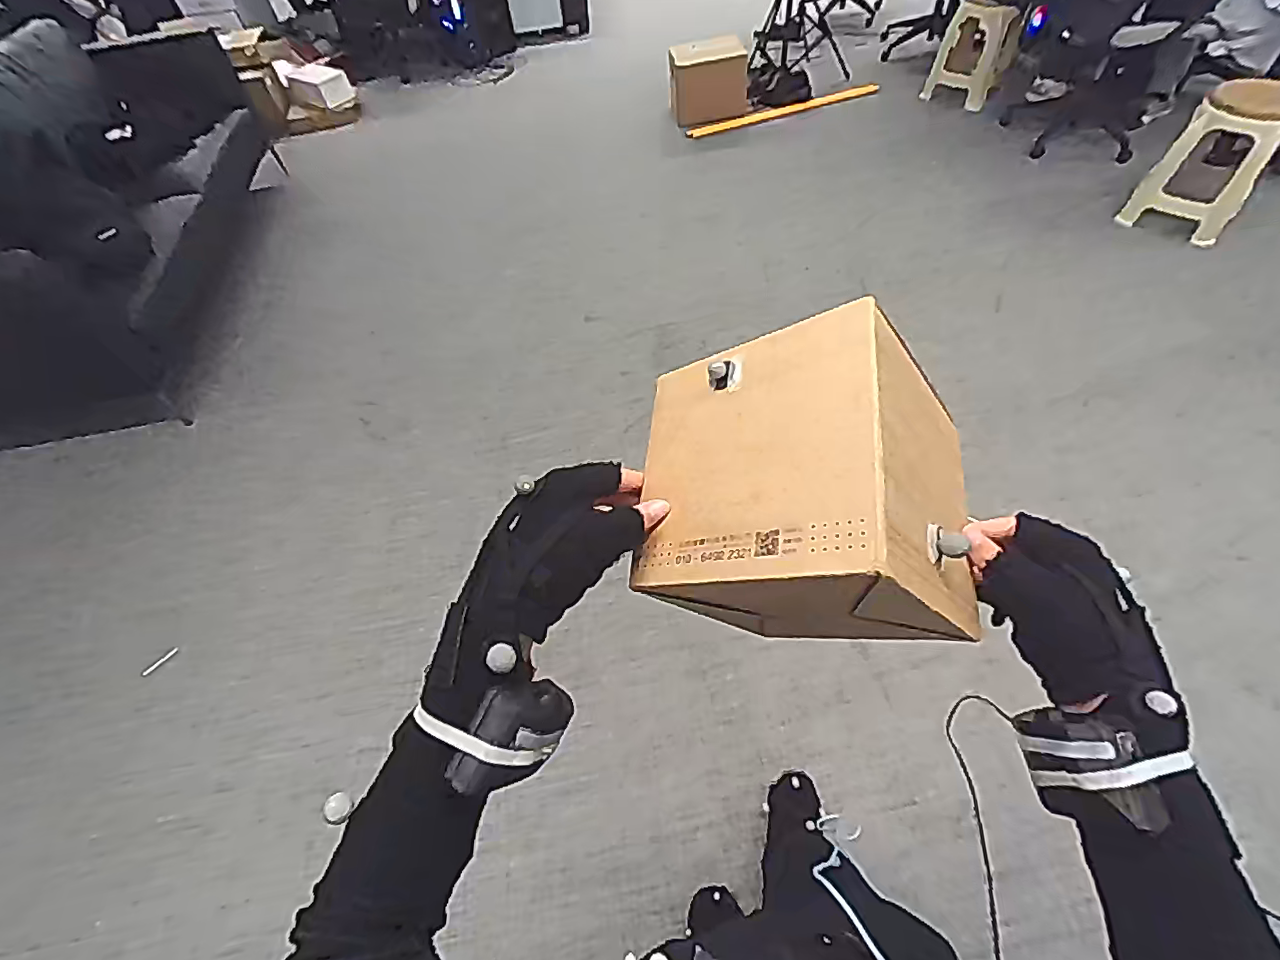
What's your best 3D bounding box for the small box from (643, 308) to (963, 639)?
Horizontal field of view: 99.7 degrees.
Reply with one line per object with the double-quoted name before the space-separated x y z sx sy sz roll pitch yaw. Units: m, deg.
"small box" 0.120 0.018 0.397 0.168 0.179 0.176 -15 57 42
